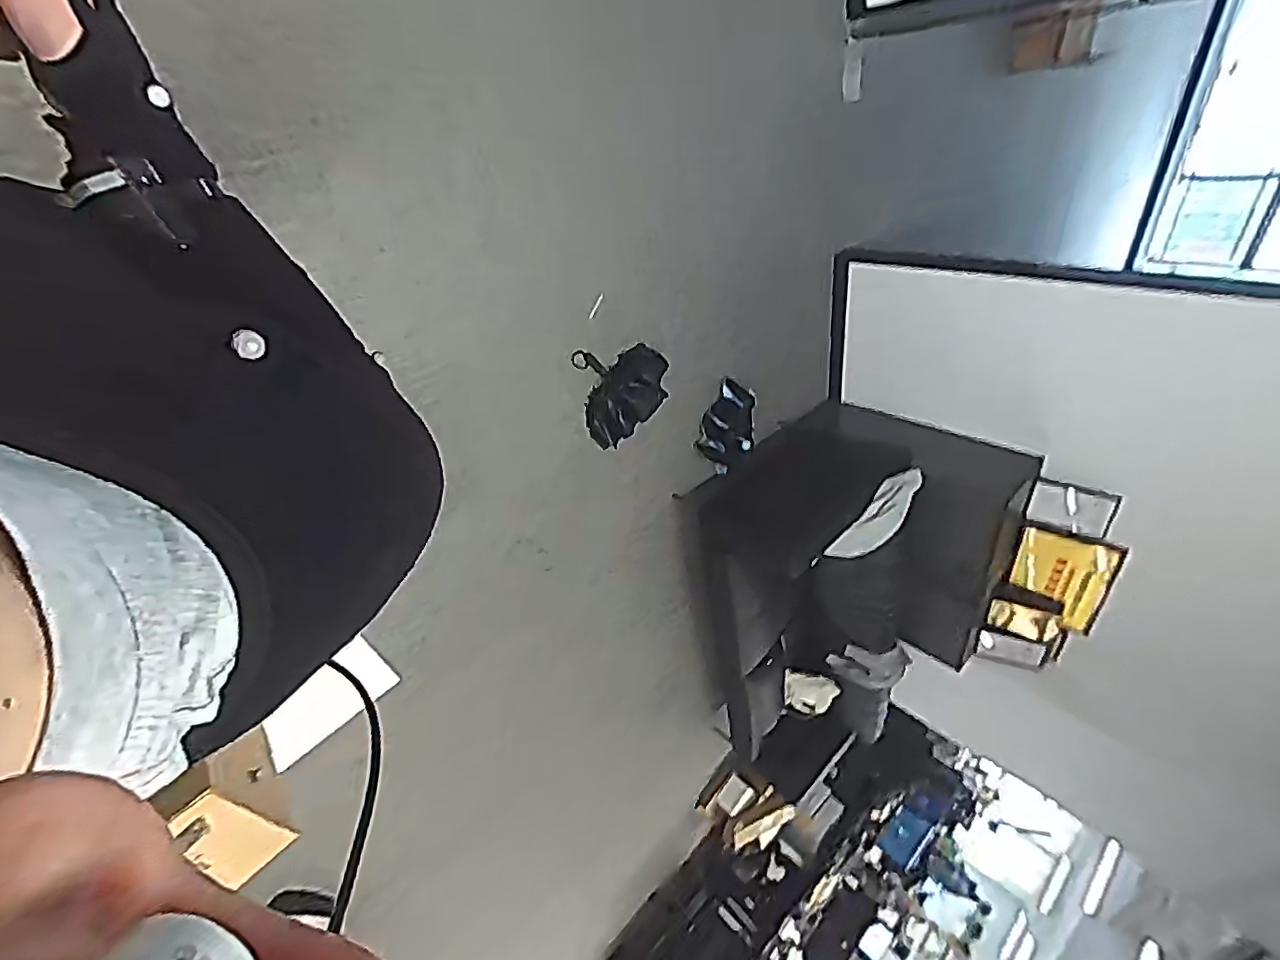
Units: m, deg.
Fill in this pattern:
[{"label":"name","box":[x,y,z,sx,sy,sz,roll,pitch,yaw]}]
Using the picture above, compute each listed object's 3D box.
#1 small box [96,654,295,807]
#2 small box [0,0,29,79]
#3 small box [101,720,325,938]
[{"label":"small box","box":[-0.693,0.409,0.850,0.168,0.176,0.179,-41,136,-23]},{"label":"small box","box":[-0.427,-0.313,0.231,0.168,0.176,0.179,-21,113,-35]},{"label":"small box","box":[-0.583,0.466,0.742,0.168,0.176,0.179,-40,135,-23]}]
